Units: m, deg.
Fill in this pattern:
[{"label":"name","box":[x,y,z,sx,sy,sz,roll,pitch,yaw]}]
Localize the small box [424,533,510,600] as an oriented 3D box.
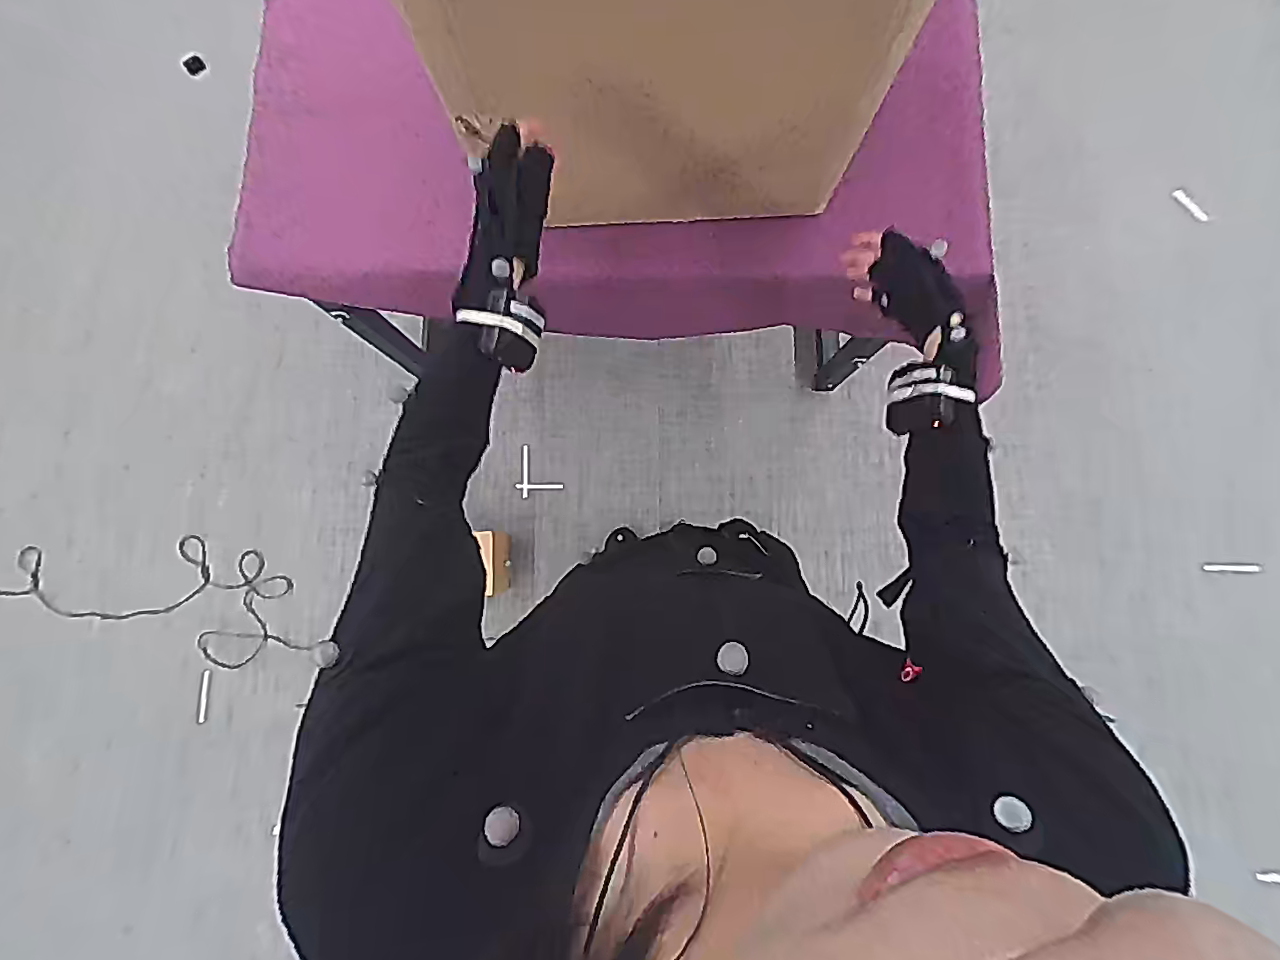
[{"label":"small box","box":[-0.457,0.229,1.443,0.179,0.176,0.168,-2,83,0]}]
